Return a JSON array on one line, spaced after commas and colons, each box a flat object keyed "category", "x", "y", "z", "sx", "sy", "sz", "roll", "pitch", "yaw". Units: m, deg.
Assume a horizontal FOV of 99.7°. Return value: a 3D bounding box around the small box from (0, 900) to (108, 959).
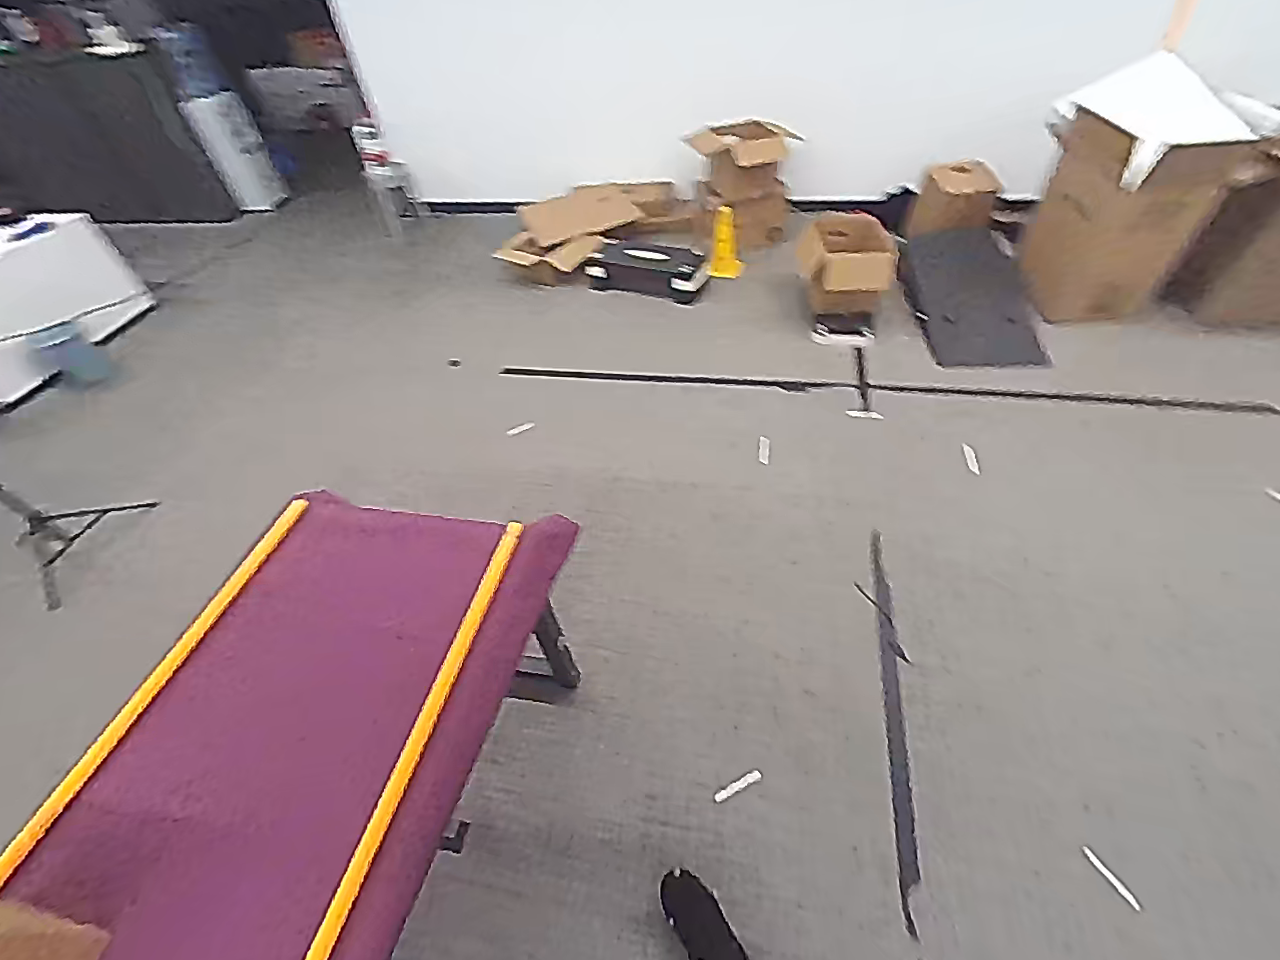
[{"category": "small box", "x": -0.817, "y": 0.610, "z": 0.636, "sx": 0.179, "sy": 0.176, "sz": 0.168, "roll": 7, "pitch": 49, "yaw": 10}]
